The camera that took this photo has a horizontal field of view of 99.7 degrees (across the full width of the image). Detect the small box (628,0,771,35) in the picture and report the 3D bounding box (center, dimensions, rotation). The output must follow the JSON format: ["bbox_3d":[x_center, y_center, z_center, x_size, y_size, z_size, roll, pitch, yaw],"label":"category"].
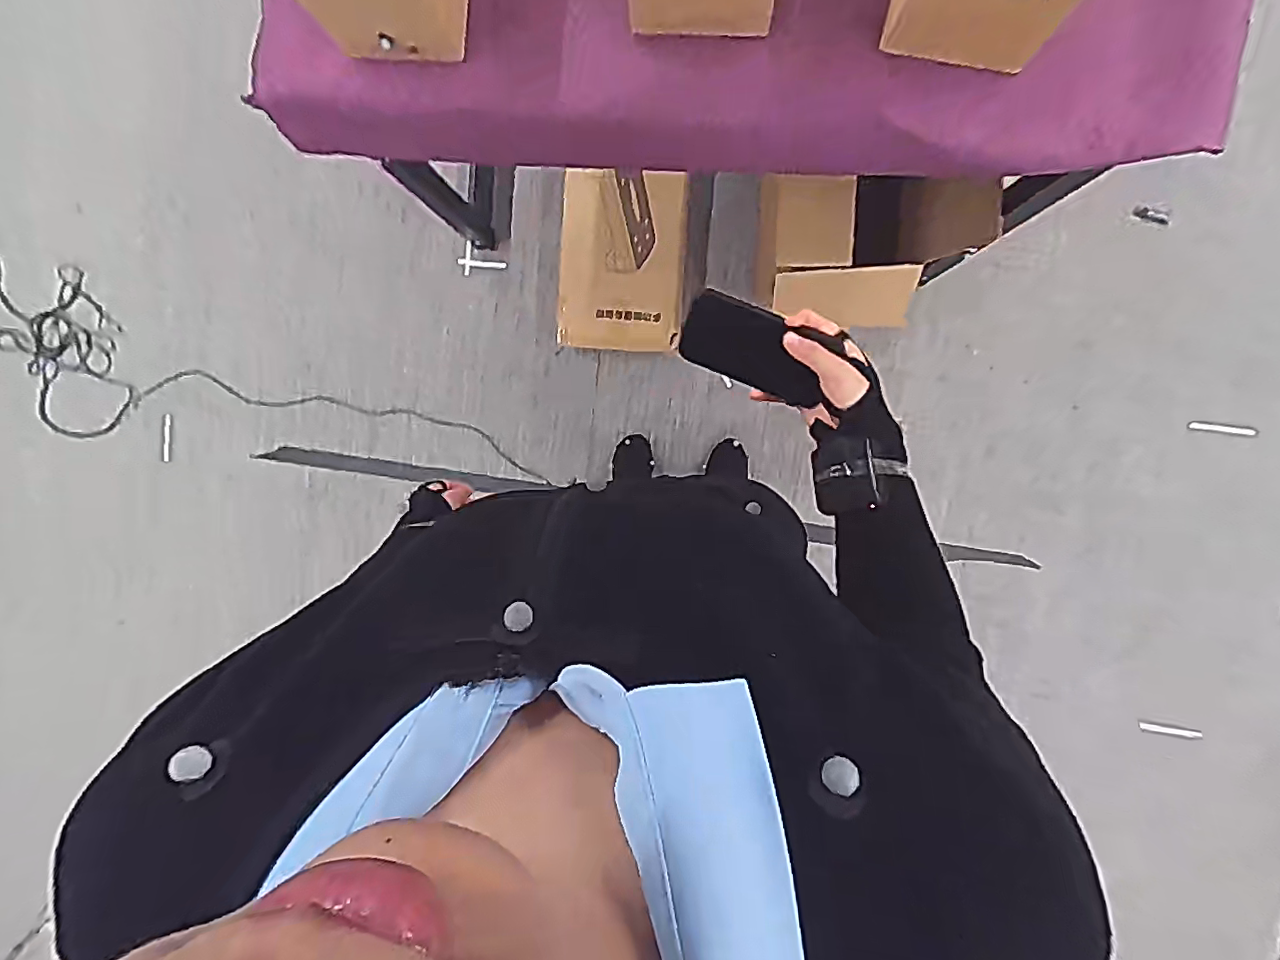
[{"bbox_3d":[0.075,-0.646,0.607,0.179,0.176,0.168,5,93,4],"label":"small box"}]

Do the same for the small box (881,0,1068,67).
[{"bbox_3d":[0.389,-0.594,0.587,0.179,0.176,0.168,12,96,3],"label":"small box"}]
